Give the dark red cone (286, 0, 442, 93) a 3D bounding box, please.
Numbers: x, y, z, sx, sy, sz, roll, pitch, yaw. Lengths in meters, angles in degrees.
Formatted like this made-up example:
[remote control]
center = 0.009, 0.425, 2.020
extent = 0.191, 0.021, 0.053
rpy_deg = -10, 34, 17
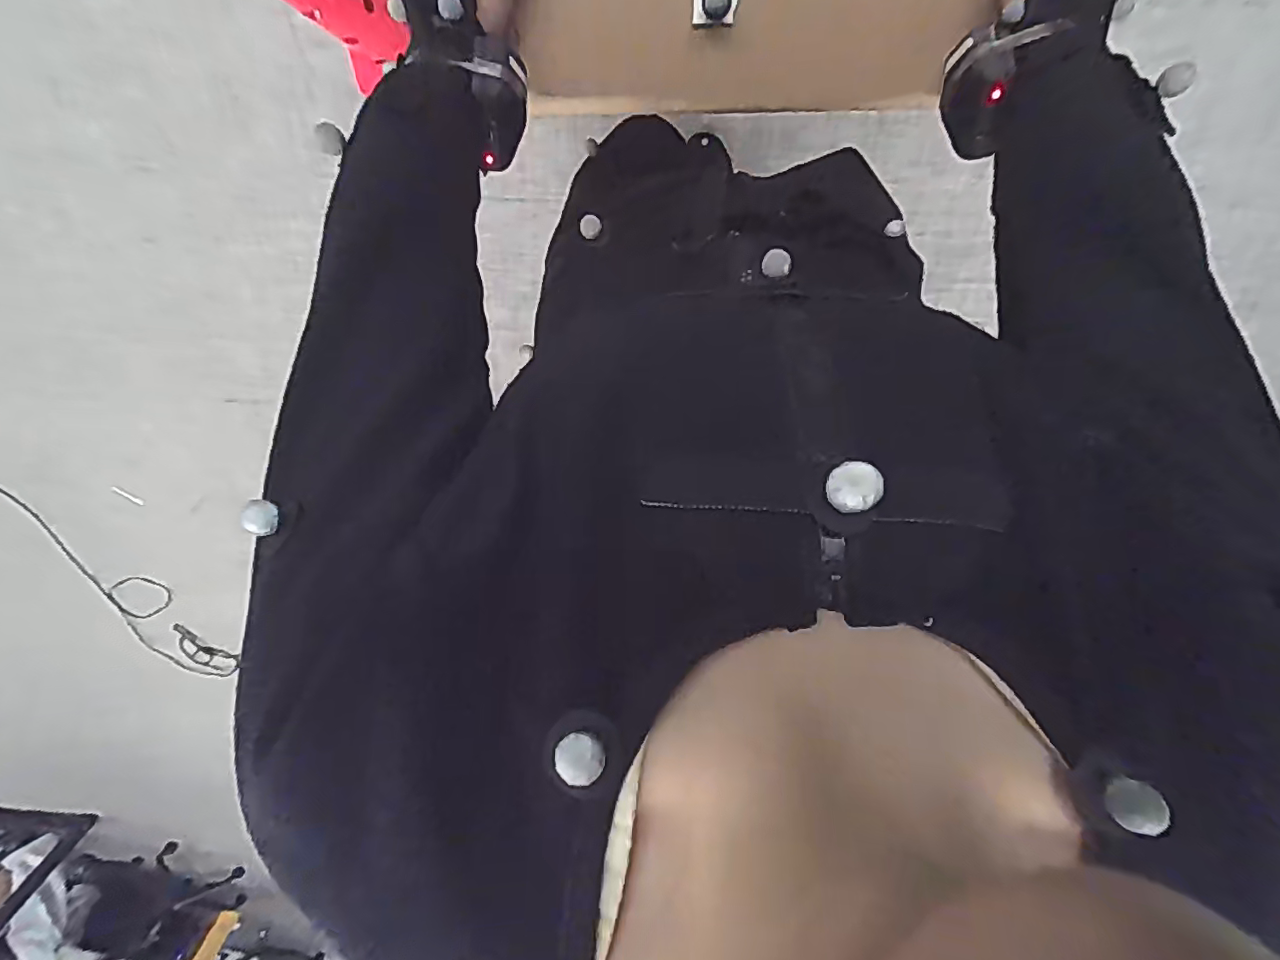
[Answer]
[dark red cone]
center = -0.483, -0.754, 0.832
extent = 0.202, 0.394, 0.201
rpy_deg = -3, 117, 7
